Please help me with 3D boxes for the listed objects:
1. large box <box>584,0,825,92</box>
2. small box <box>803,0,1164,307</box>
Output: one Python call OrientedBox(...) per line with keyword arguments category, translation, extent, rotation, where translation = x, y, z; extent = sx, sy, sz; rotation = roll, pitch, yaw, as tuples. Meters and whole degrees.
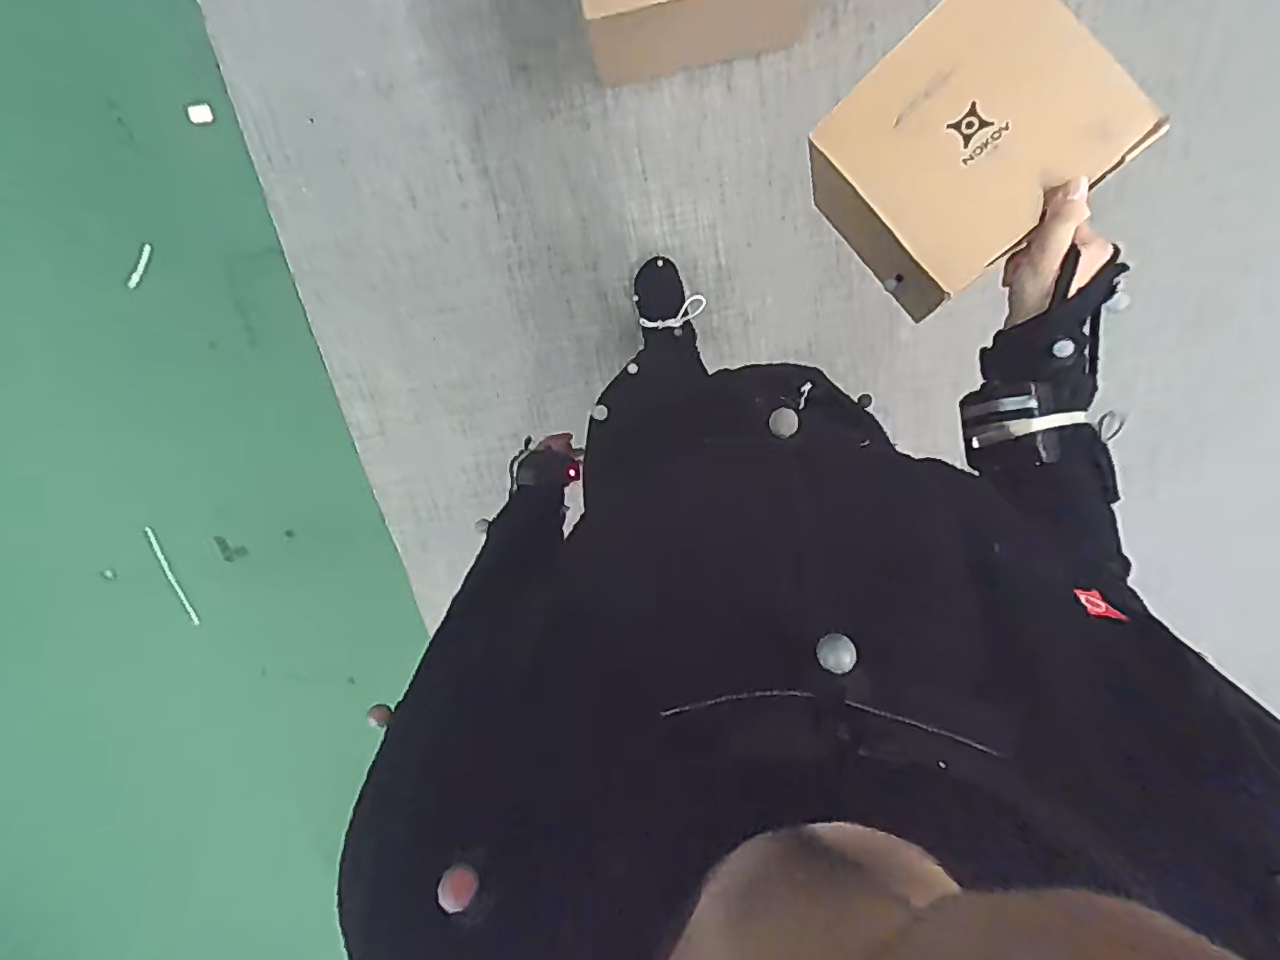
OrientedBox(category="large box", translation=(0.090, -0.916, 0.901), extent=(0.408, 0.320, 0.320), rotation=(-11, 110, 3))
OrientedBox(category="small box", translation=(0.267, -0.271, 0.468), extent=(0.168, 0.176, 0.179), rotation=(-41, 83, 20))
